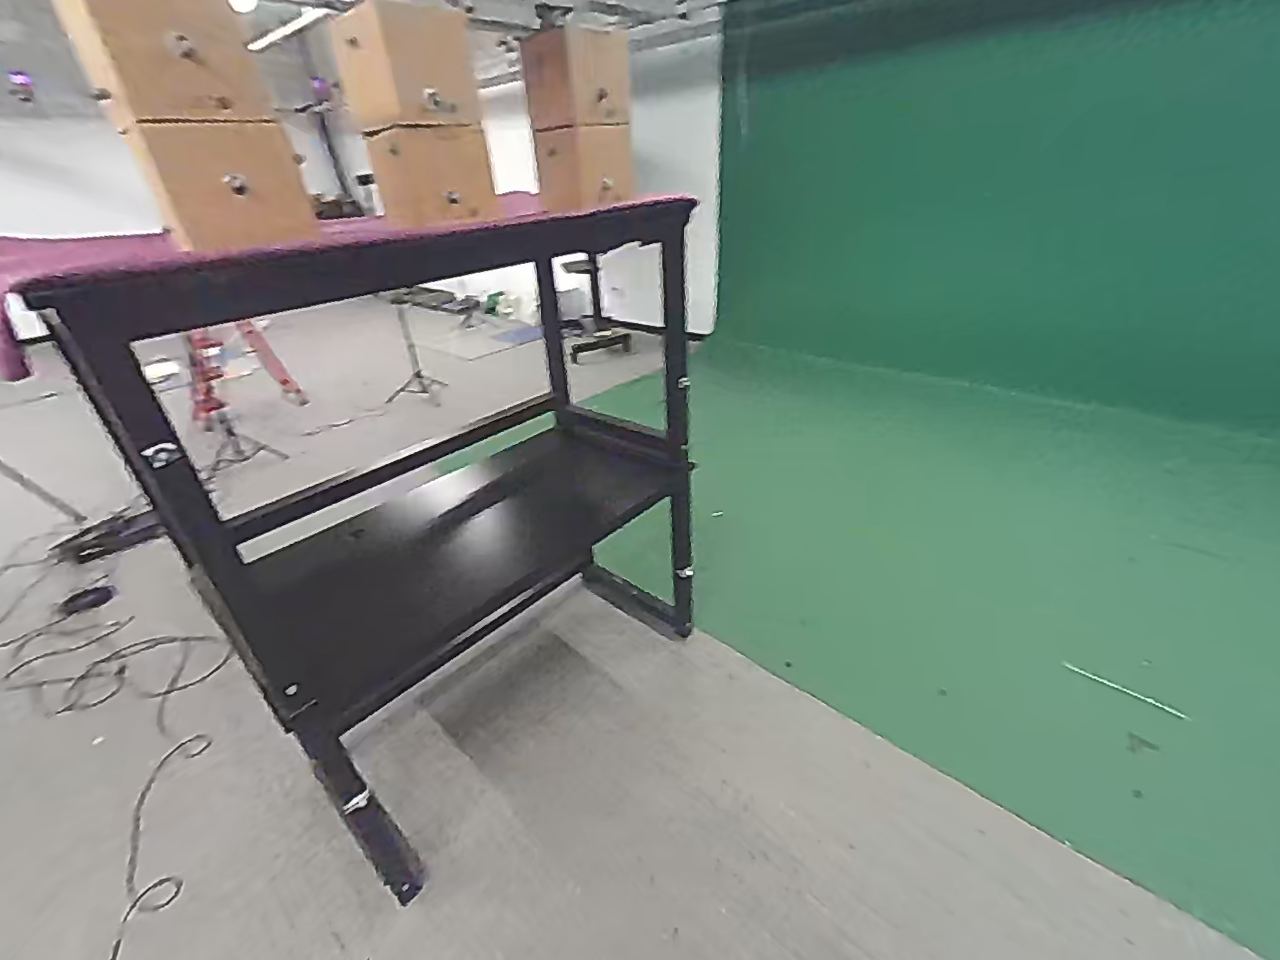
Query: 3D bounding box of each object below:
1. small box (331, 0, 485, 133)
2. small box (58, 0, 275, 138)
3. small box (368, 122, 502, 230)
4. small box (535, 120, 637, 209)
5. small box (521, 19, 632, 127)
[{"bbox_3d":[-0.402,-0.715,0.952,0.179,0.176,0.168,22,41,36],"label":"small box"},{"bbox_3d":[-0.639,-0.577,0.738,0.179,0.176,0.168,22,40,38],"label":"small box"},{"bbox_3d":[-0.389,-0.578,1.039,0.168,0.176,0.179,-28,37,-35],"label":"small box"},{"bbox_3d":[-0.123,-0.737,1.270,0.168,0.176,0.179,-28,39,-34],"label":"small box"},{"bbox_3d":[-0.135,-0.879,1.187,0.168,0.176,0.179,-29,39,-33],"label":"small box"}]
